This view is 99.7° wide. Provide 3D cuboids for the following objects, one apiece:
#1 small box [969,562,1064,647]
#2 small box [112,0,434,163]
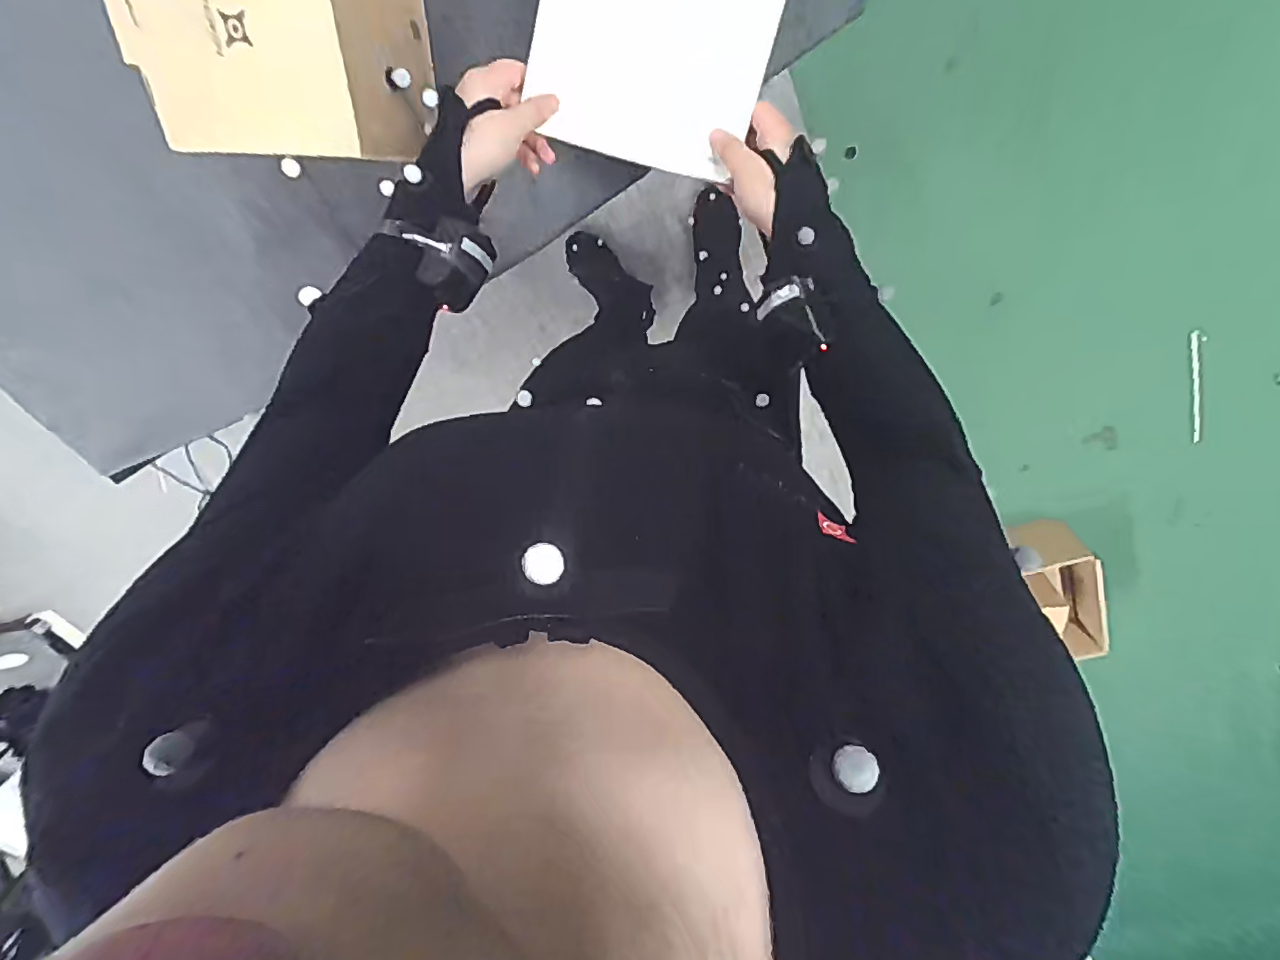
[{"bbox_3d":[1.088,0.363,1.580,0.168,0.176,0.179,-7,121,12],"label":"small box"},{"bbox_3d":[-0.300,-0.379,0.474,0.179,0.176,0.168,5,122,5],"label":"small box"}]
